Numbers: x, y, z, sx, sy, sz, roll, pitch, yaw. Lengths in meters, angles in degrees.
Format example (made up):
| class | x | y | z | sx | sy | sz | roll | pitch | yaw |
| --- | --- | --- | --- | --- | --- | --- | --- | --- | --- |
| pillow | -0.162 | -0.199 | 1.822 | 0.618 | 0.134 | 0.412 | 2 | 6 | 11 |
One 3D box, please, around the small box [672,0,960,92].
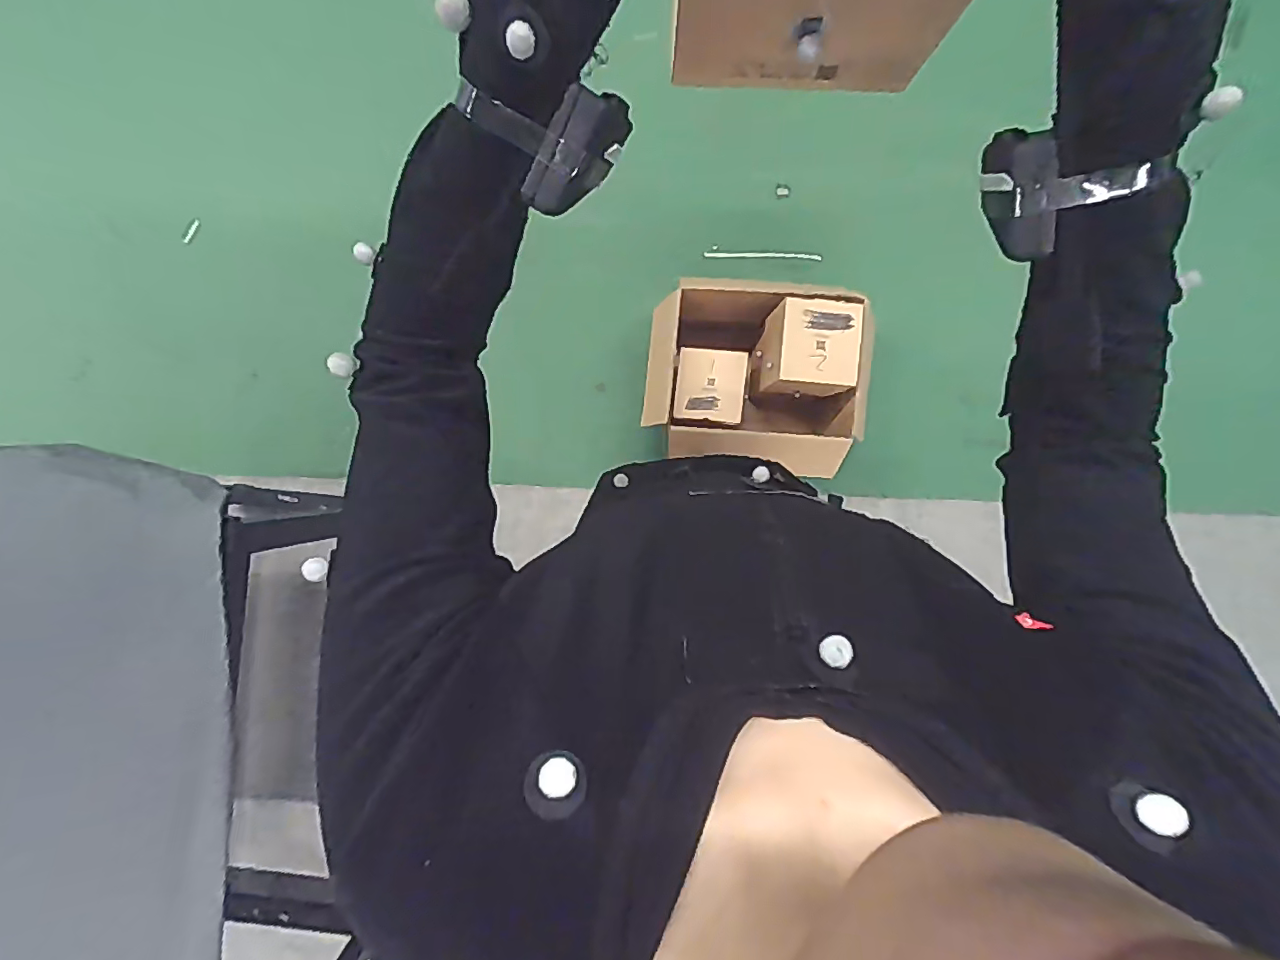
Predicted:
| class | x | y | z | sx | sy | sz | roll | pitch | yaw |
| --- | --- | --- | --- | --- | --- | --- | --- | --- | --- |
| small box | 0.105 | -0.359 | 0.295 | 0.168 | 0.176 | 0.179 | 2 | 93 | 0 |
